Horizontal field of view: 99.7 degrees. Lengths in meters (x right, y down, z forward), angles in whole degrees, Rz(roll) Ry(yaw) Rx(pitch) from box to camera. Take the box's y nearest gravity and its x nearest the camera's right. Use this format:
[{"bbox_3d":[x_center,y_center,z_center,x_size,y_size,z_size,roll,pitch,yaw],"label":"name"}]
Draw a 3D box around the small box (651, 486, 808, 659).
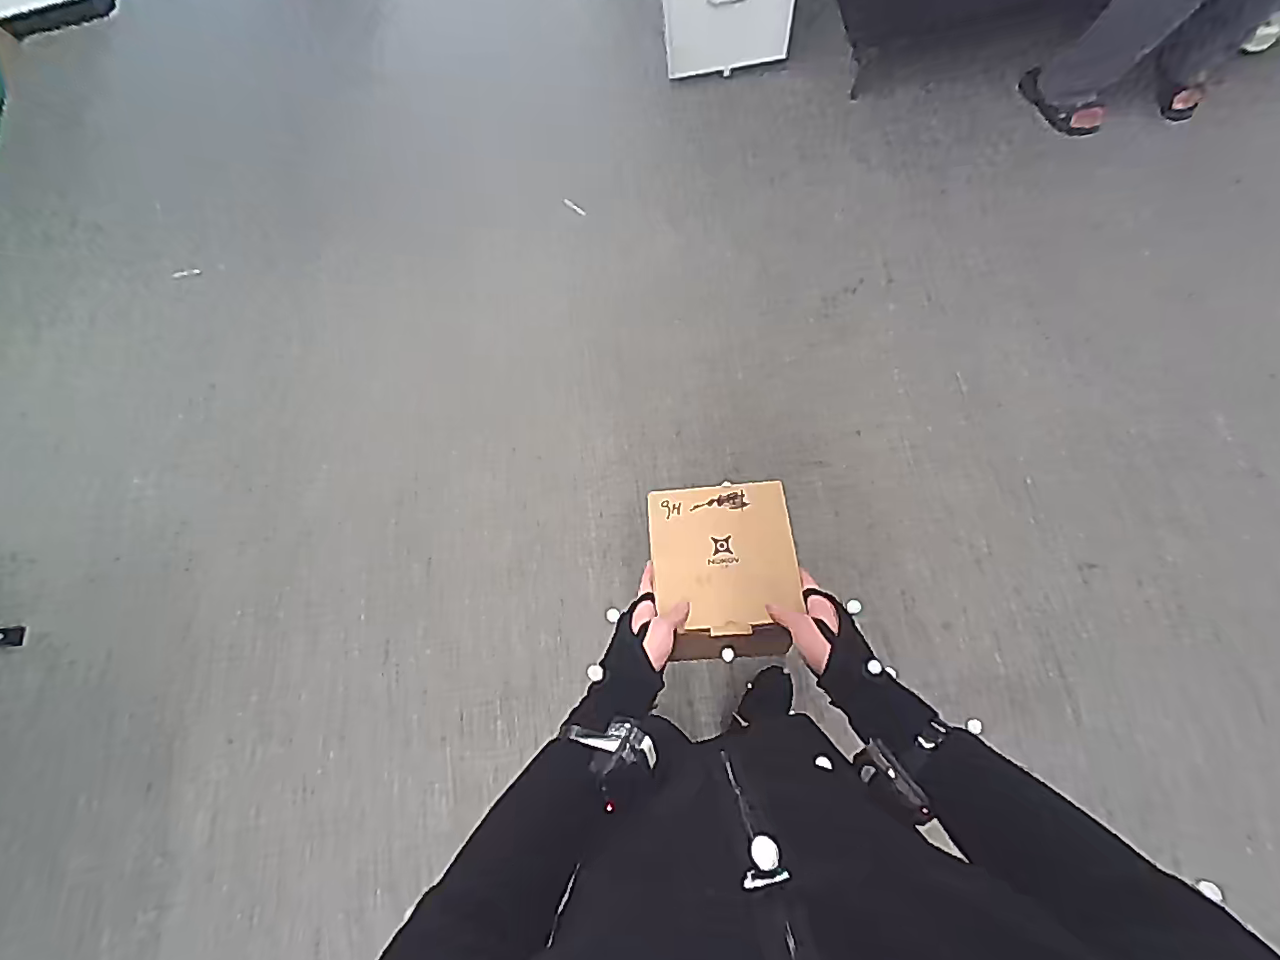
[{"bbox_3d":[0.108,0.129,0.702,0.168,0.176,0.179,-6,61,3],"label":"small box"}]
